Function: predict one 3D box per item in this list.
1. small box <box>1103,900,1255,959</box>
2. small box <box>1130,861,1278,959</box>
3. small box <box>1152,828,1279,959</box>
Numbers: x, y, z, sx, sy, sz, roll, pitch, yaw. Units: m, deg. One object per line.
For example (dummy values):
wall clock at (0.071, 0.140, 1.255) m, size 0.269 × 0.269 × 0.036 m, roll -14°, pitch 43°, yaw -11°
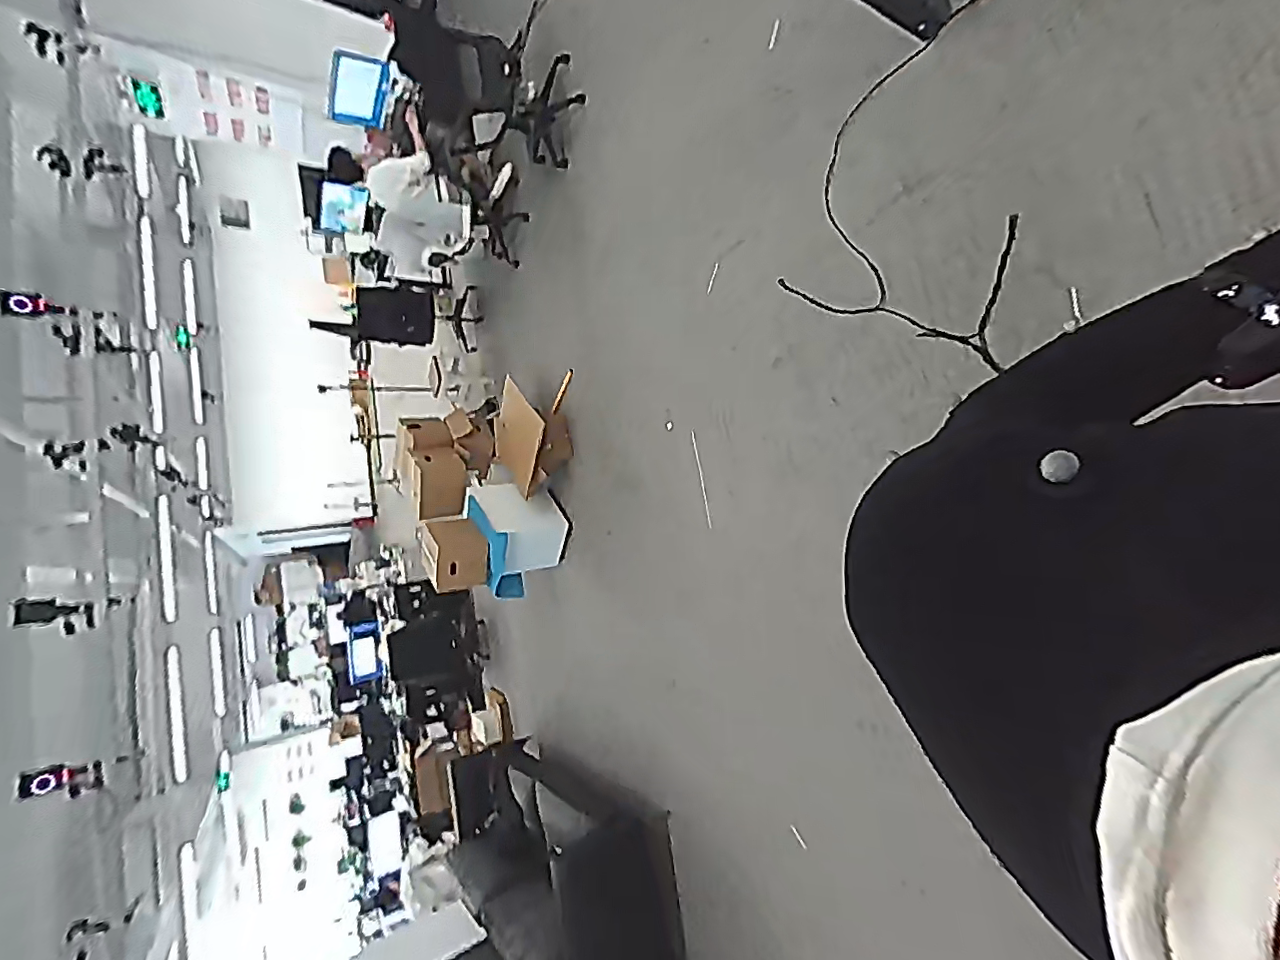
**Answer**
small box at (0.942, 0.890, 0.931) m, size 0.168 × 0.176 × 0.179 m, roll -14°, pitch 83°, yaw 54°
small box at (1.075, 0.882, 1.026) m, size 0.168 × 0.176 × 0.179 m, roll -12°, pitch 84°, yaw 54°
small box at (1.208, 0.865, 1.120) m, size 0.168 × 0.176 × 0.179 m, roll -17°, pitch 81°, yaw 55°
